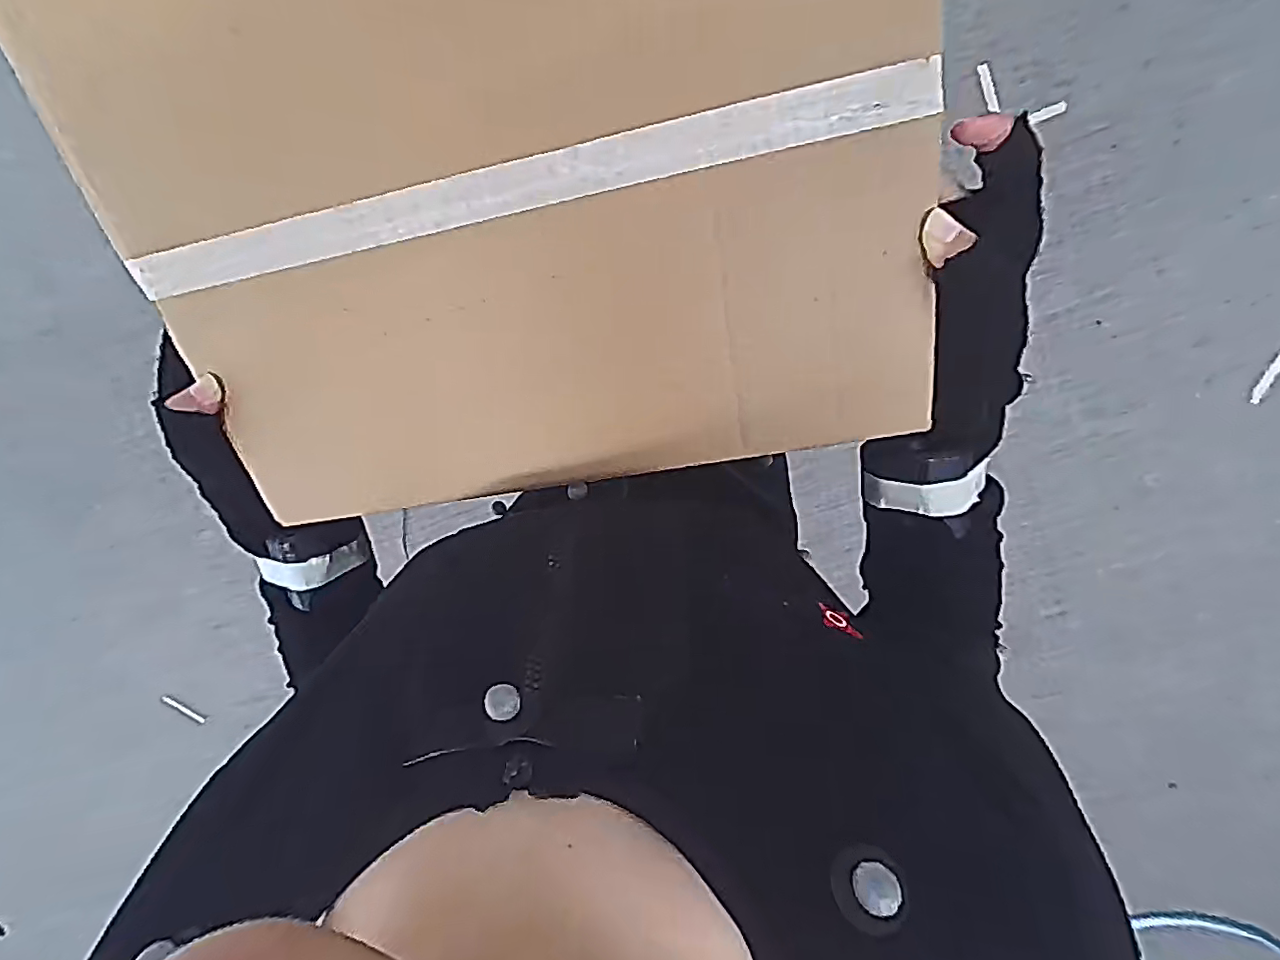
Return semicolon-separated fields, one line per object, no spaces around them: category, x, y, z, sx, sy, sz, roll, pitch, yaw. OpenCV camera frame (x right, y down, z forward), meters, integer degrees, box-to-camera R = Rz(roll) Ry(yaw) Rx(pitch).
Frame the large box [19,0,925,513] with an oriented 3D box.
large box;-0.059;-0.207;0.403;0.408;0.320;0.320;-9;116;9
